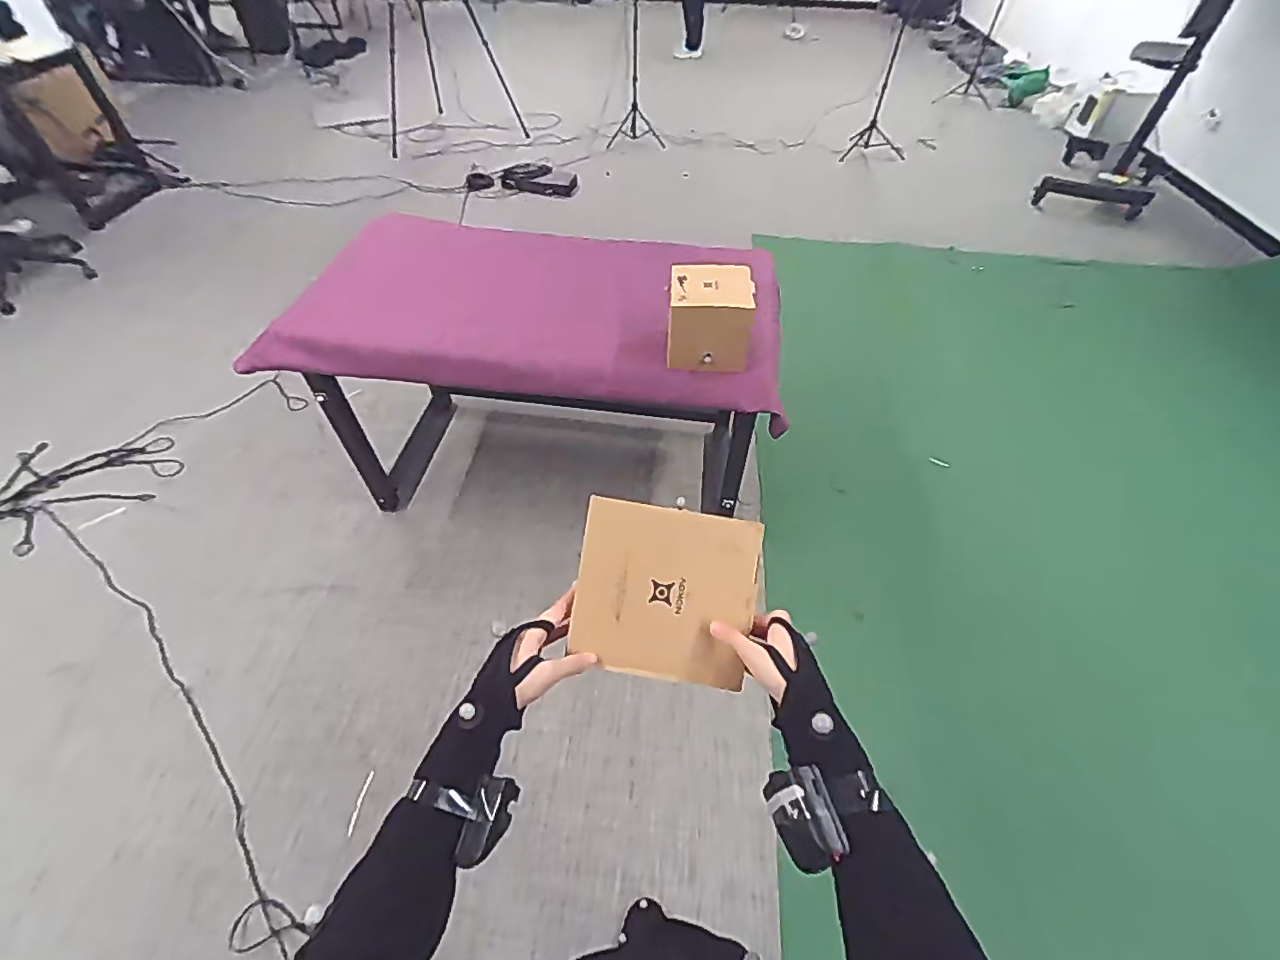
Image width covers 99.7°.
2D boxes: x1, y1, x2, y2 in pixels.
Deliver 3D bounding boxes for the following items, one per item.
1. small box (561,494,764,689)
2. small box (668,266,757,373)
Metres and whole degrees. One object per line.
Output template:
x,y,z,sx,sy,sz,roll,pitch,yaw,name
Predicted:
0.022,0.114,0.603,0.179,0.176,0.168,10,84,1,small box
0.157,-0.357,1.213,0.179,0.176,0.168,3,50,2,small box
